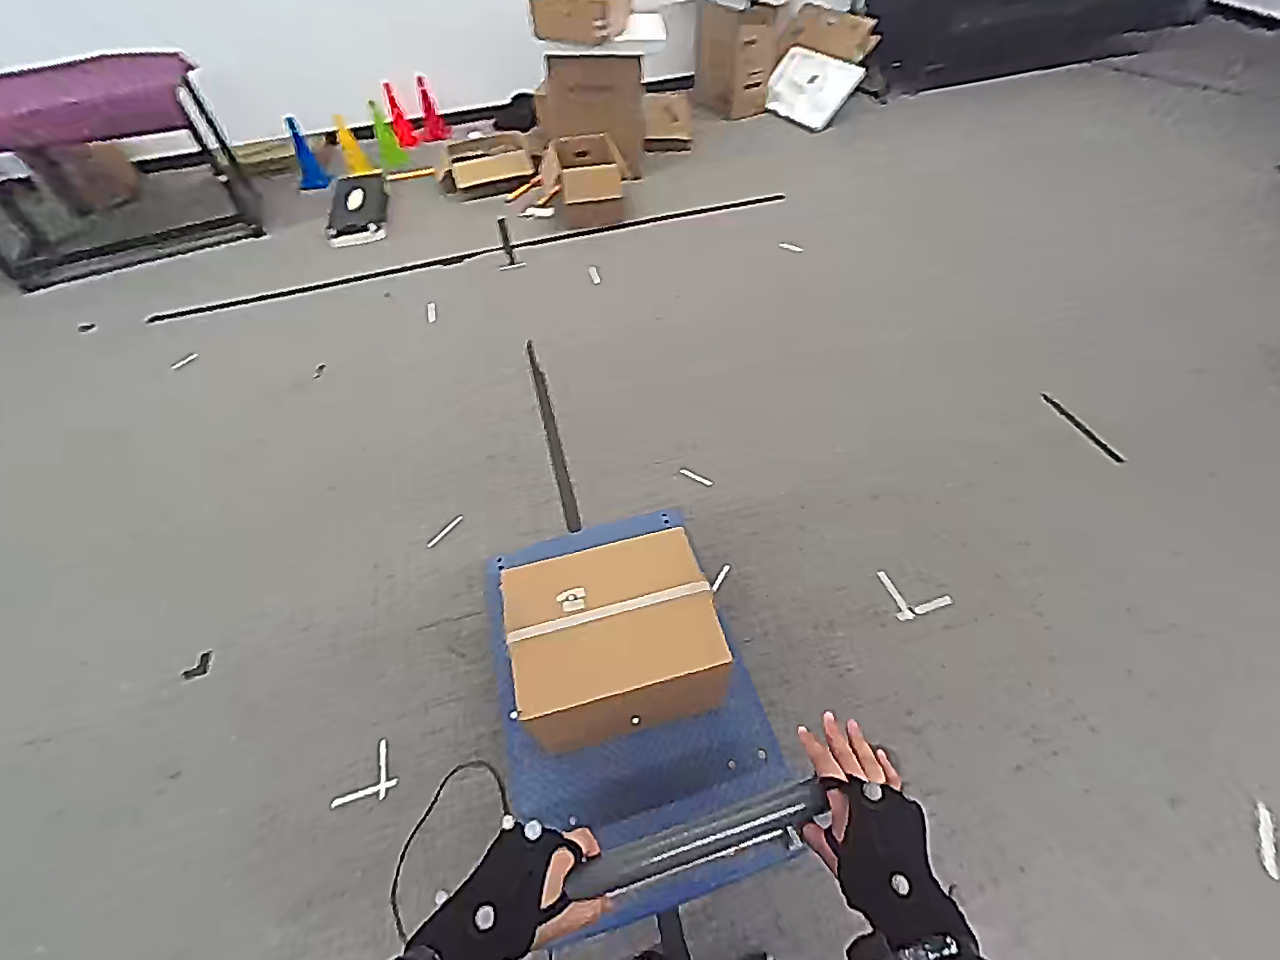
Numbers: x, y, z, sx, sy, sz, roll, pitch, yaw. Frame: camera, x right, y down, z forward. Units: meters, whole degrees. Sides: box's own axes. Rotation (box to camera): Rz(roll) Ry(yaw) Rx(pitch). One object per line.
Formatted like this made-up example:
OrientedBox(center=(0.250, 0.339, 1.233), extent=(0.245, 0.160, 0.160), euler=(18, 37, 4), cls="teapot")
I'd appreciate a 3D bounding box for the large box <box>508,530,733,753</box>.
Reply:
OrientedBox(center=(-0.043, 0.363, 1.202), extent=(0.408, 0.320, 0.320), euler=(-14, 52, -7), cls="large box")
